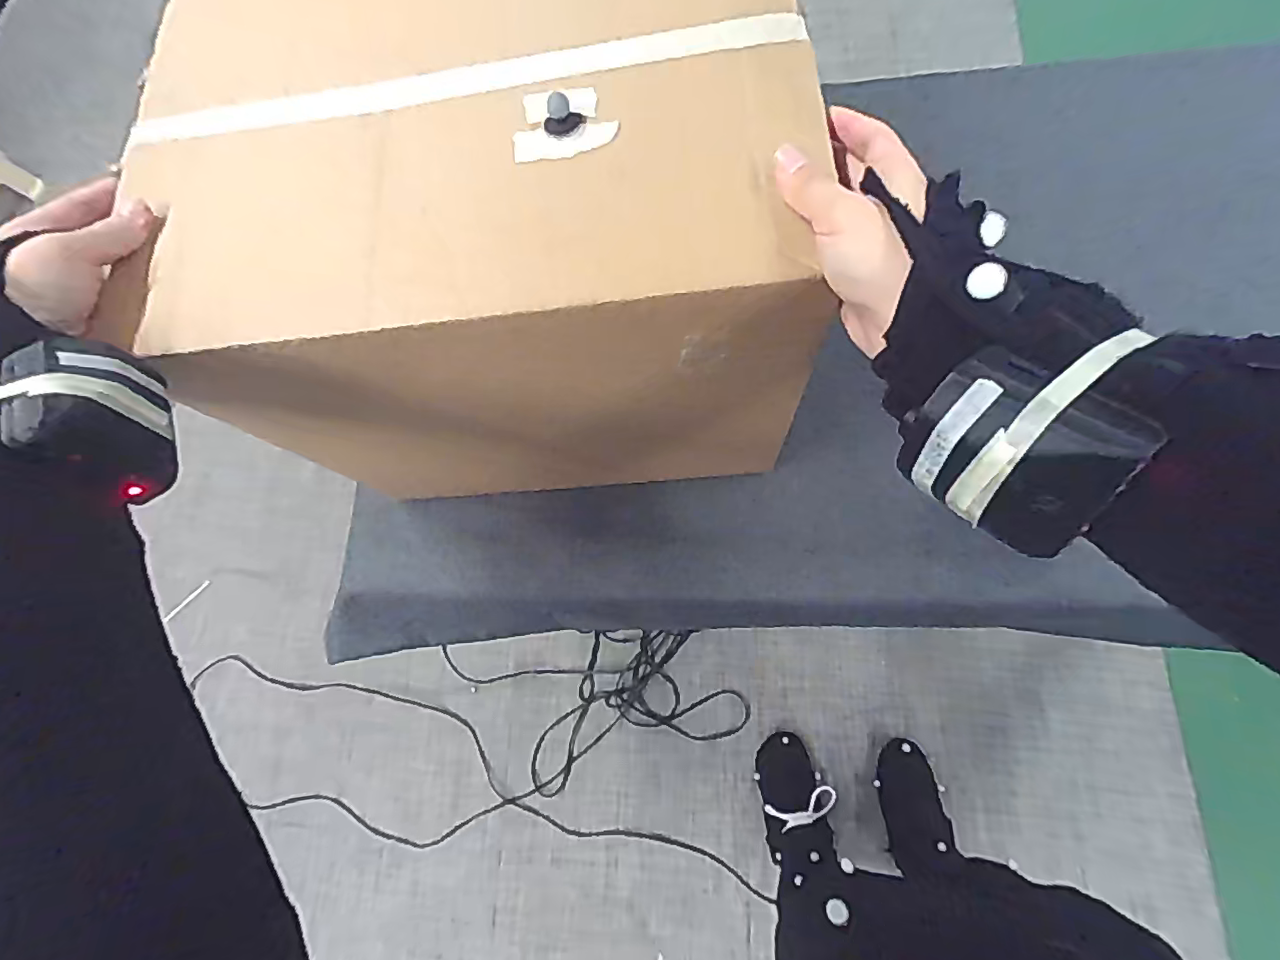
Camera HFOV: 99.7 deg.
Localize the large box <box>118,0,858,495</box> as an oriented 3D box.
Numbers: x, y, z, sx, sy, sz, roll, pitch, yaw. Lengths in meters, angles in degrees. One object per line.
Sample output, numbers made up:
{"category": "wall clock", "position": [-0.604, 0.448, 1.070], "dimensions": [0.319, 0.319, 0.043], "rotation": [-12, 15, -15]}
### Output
{"category": "large box", "position": [-0.085, -0.187, 0.465], "dimensions": [0.408, 0.320, 0.320], "rotation": [-5, 74, 4]}
